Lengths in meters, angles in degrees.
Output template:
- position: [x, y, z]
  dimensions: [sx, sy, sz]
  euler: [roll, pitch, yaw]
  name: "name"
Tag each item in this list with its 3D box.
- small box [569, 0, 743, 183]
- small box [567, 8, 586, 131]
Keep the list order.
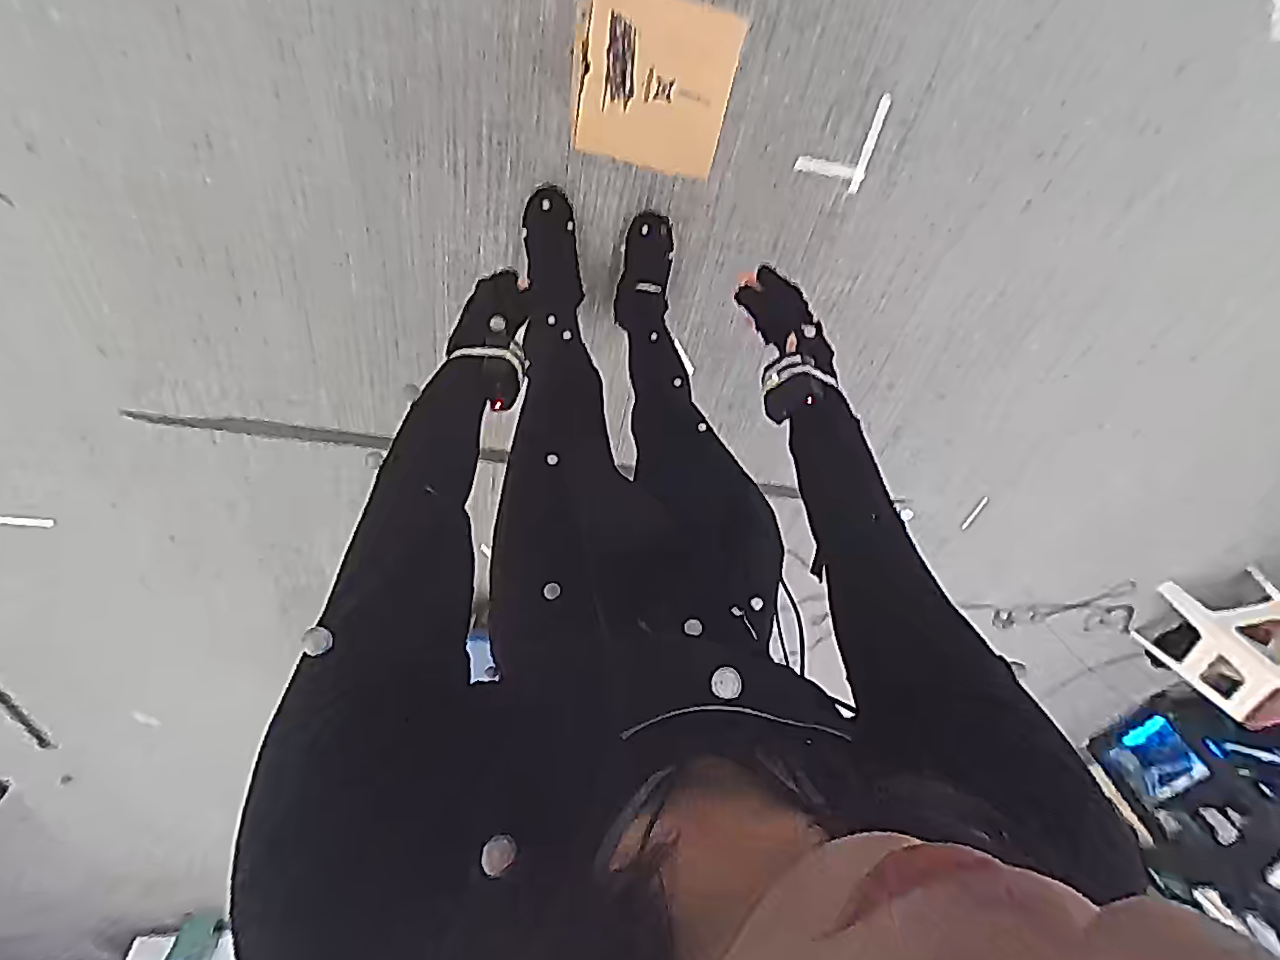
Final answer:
- position: [0.006, -0.504, 0.696]
  dimensions: [0.179, 0.176, 0.168]
  euler: [6, 126, -13]
  name: "small box"
- position: [-0.036, -0.704, 0.954]
  dimensions: [0.179, 0.176, 0.168]
  euler: [4, 127, -9]
  name: "small box"
